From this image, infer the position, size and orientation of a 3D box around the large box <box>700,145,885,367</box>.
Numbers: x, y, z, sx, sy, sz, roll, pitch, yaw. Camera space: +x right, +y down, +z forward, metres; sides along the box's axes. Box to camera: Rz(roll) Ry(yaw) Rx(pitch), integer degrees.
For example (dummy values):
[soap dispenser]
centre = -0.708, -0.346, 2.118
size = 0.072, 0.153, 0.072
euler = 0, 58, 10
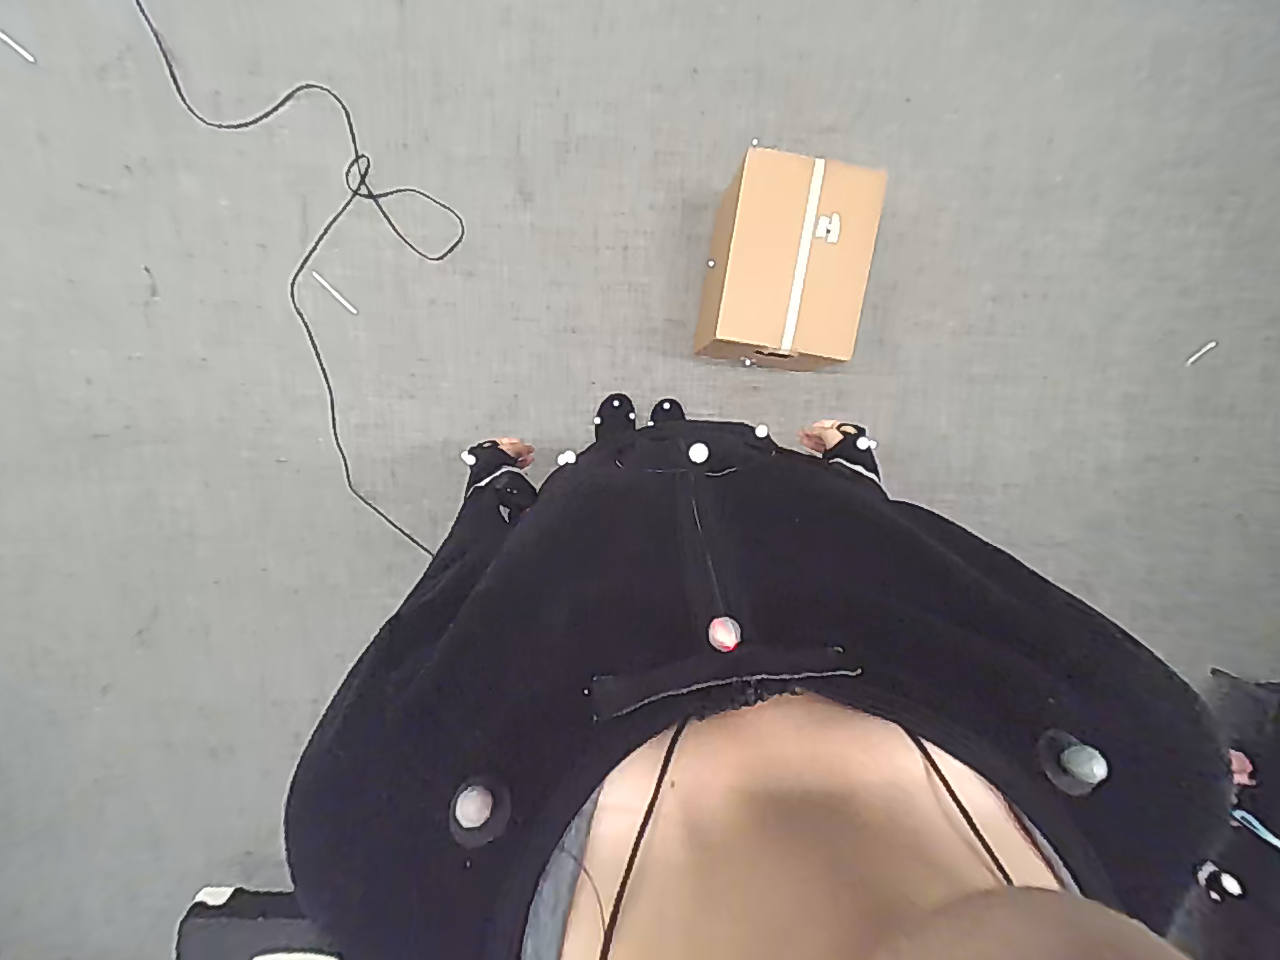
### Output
[large box]
centre = 0.341, -0.507, 1.314
size = 0.320, 0.320, 0.408
euler = 9, 96, -4
